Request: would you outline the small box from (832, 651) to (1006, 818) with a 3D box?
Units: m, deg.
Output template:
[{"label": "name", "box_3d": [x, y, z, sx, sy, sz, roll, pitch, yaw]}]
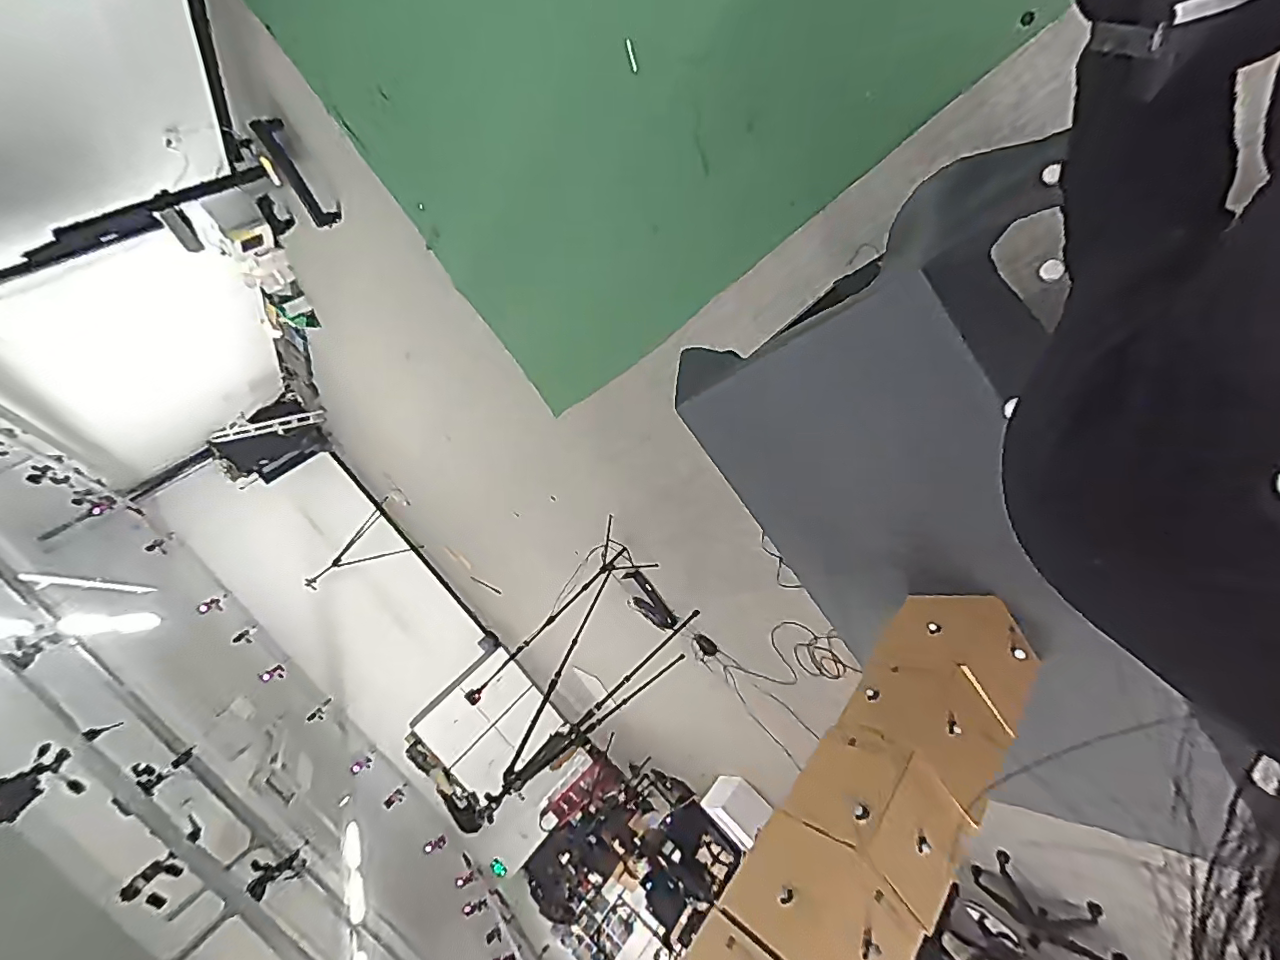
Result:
[{"label": "small box", "box_3d": [0.468, 0.410, 0.907, 0.179, 0.176, 0.168, 52, 151, -8]}]

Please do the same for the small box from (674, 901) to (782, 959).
[{"label": "small box", "box_3d": [0.138, 0.700, 0.684, 0.179, 0.176, 0.168, 53, 151, -9]}]

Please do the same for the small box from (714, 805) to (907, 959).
[{"label": "small box", "box_3d": [0.247, 0.606, 0.767, 0.168, 0.176, 0.179, 53, 151, -8]}]

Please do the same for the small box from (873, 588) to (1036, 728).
[{"label": "small box", "box_3d": [0.572, 0.311, 0.984, 0.168, 0.176, 0.179, 53, 149, -10]}]
